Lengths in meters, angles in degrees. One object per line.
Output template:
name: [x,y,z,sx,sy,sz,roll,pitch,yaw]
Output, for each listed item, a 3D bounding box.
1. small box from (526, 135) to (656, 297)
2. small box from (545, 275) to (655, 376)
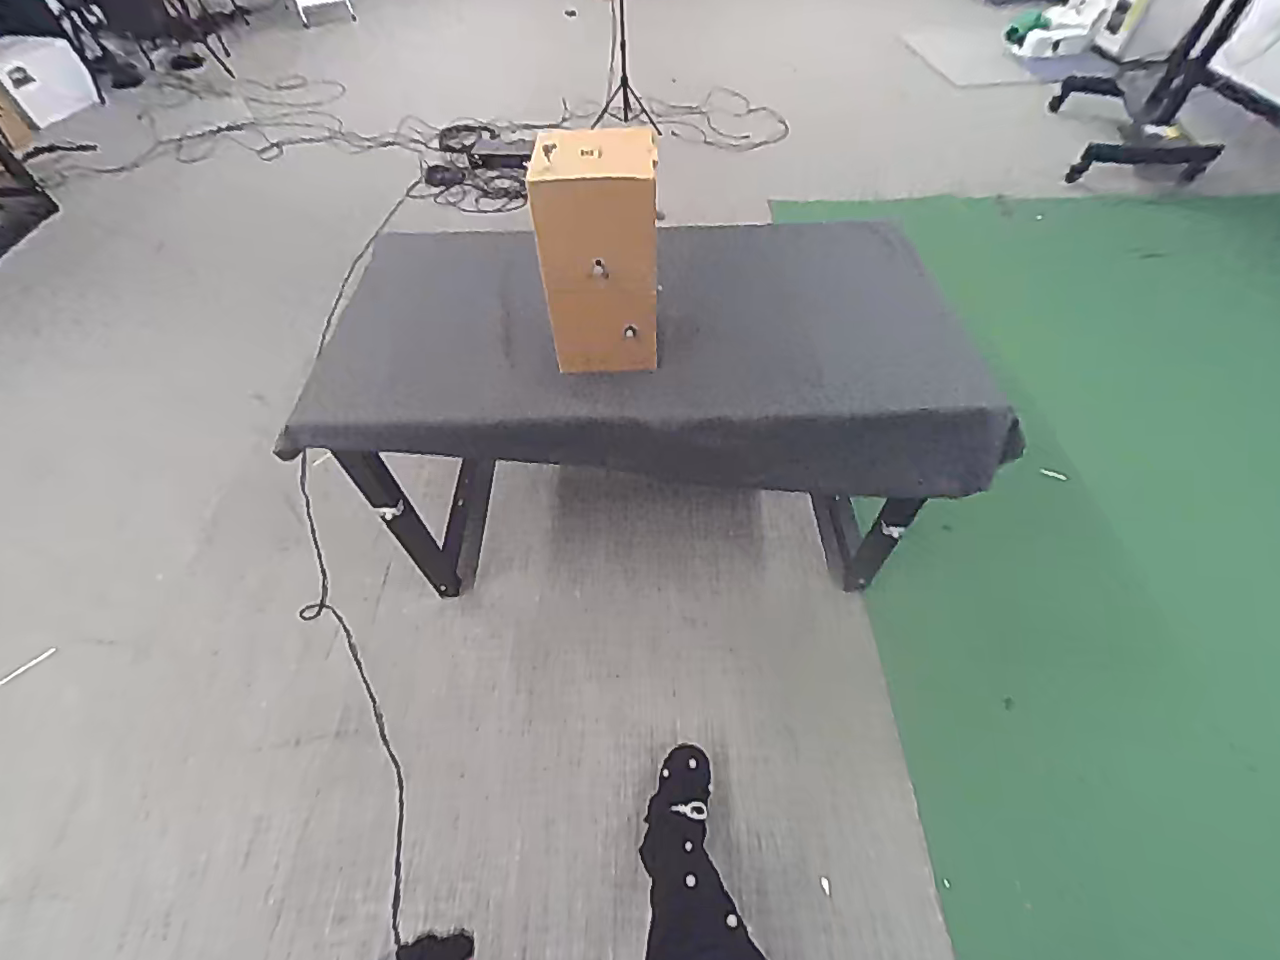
small box: [-0.068,-0.401,0.832,0.179,0.176,0.168,-4,53,0]
small box: [-0.062,-0.302,0.960,0.179,0.176,0.168,-3,52,1]
